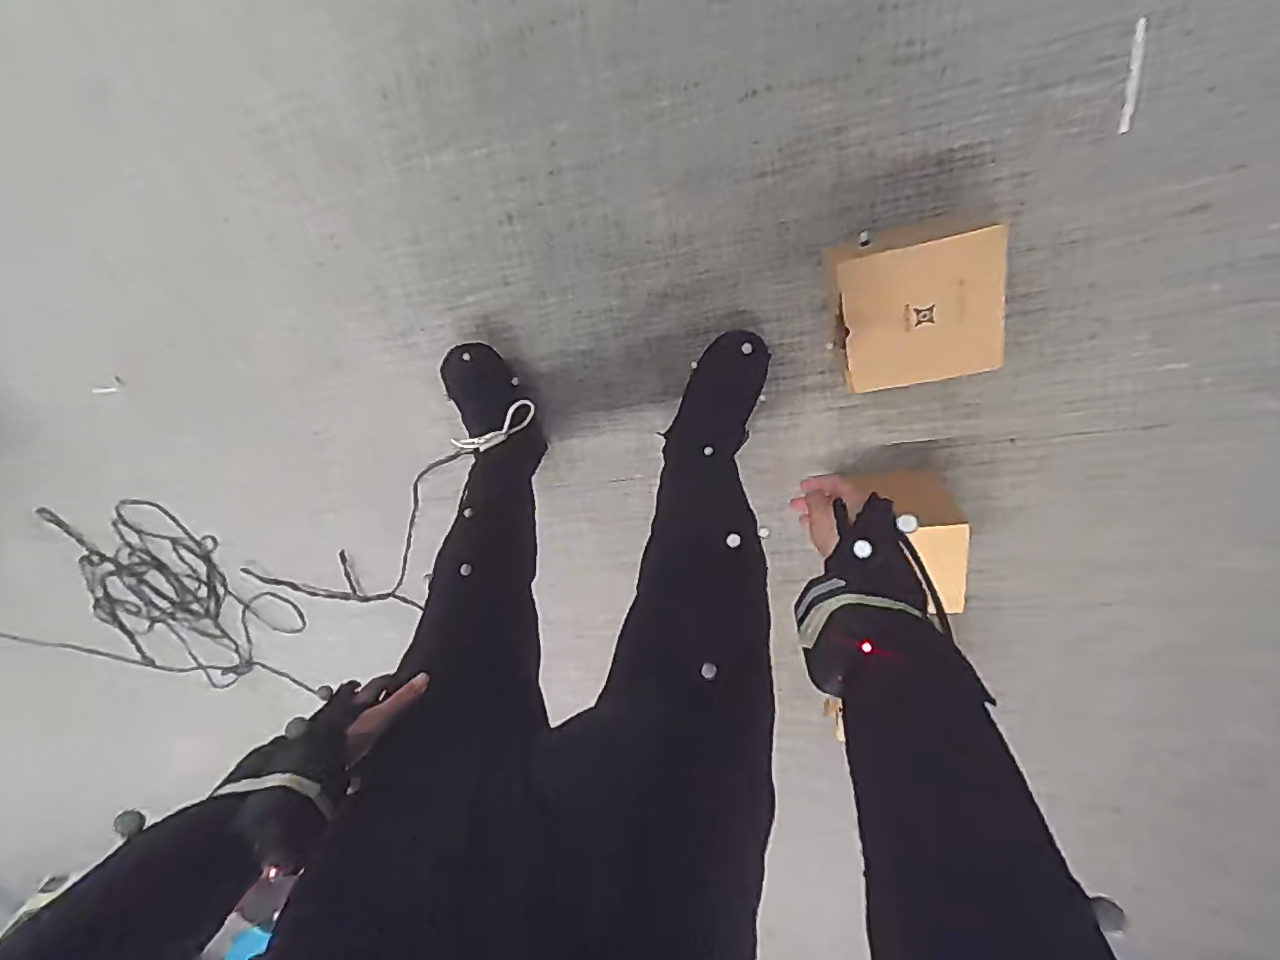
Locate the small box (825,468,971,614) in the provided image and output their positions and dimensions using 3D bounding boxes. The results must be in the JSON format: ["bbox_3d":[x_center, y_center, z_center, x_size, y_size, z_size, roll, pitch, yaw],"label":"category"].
[{"bbox_3d":[0.398,0.093,0.861,0.179,0.176,0.168,-6,118,16],"label":"small box"}]

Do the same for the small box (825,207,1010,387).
[{"bbox_3d":[0.338,-0.236,0.690,0.179,0.176,0.168,-9,117,16],"label":"small box"}]
